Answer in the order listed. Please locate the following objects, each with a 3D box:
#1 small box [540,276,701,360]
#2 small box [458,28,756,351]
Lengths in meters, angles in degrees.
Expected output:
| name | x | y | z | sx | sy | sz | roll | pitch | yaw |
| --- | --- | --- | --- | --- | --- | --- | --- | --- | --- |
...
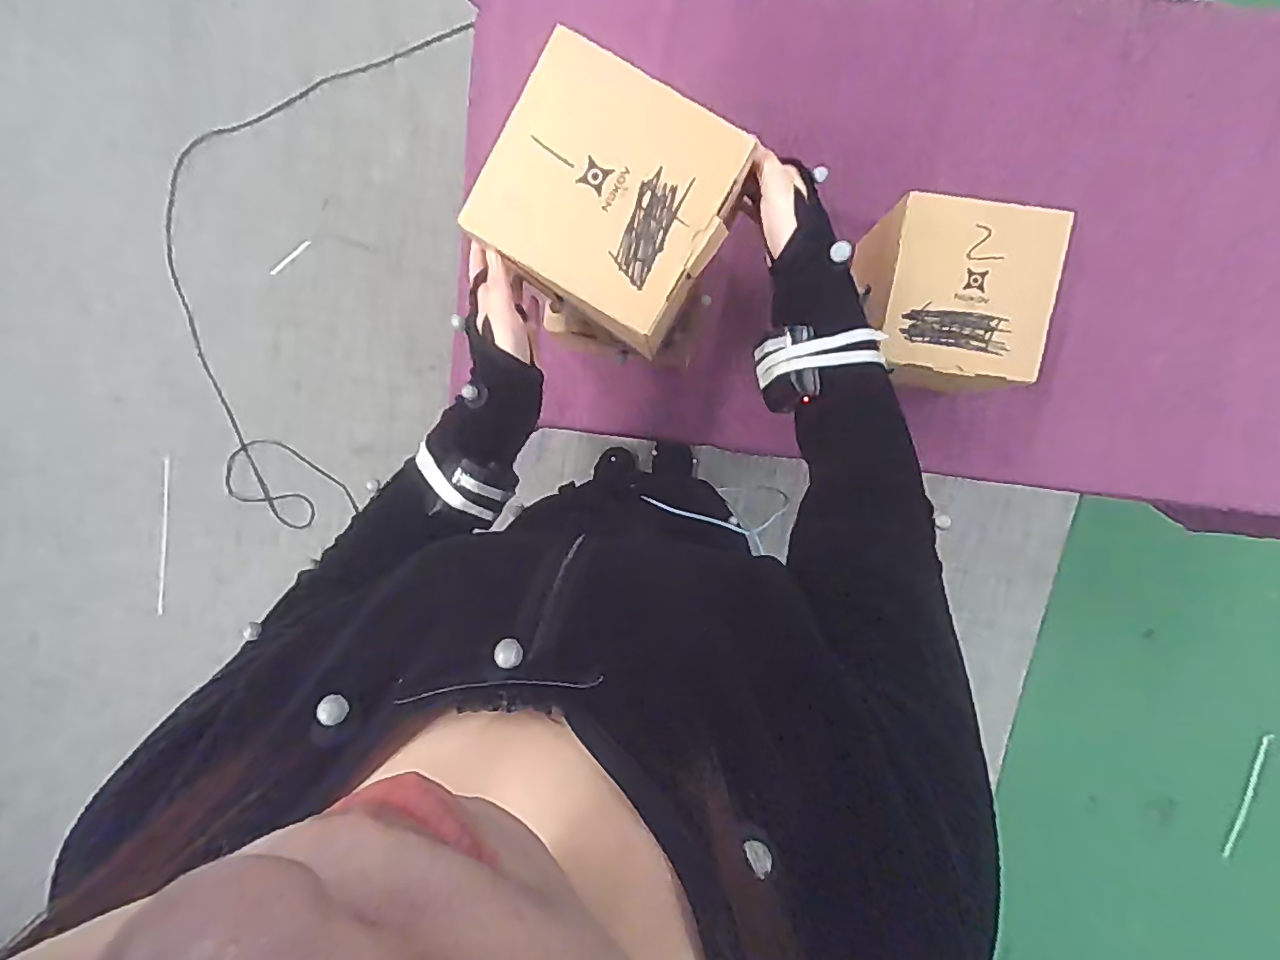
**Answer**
| name | x | y | z | sx | sy | sz | roll | pitch | yaw |
| --- | --- | --- | --- | --- | --- | --- | --- | --- | --- |
| small box | -0.011 | -0.247 | 0.655 | 0.168 | 0.176 | 0.179 | 10 | 98 | 1 |
| small box | -0.023 | -0.233 | 0.491 | 0.179 | 0.176 | 0.168 | 33 | 97 | -1 |
